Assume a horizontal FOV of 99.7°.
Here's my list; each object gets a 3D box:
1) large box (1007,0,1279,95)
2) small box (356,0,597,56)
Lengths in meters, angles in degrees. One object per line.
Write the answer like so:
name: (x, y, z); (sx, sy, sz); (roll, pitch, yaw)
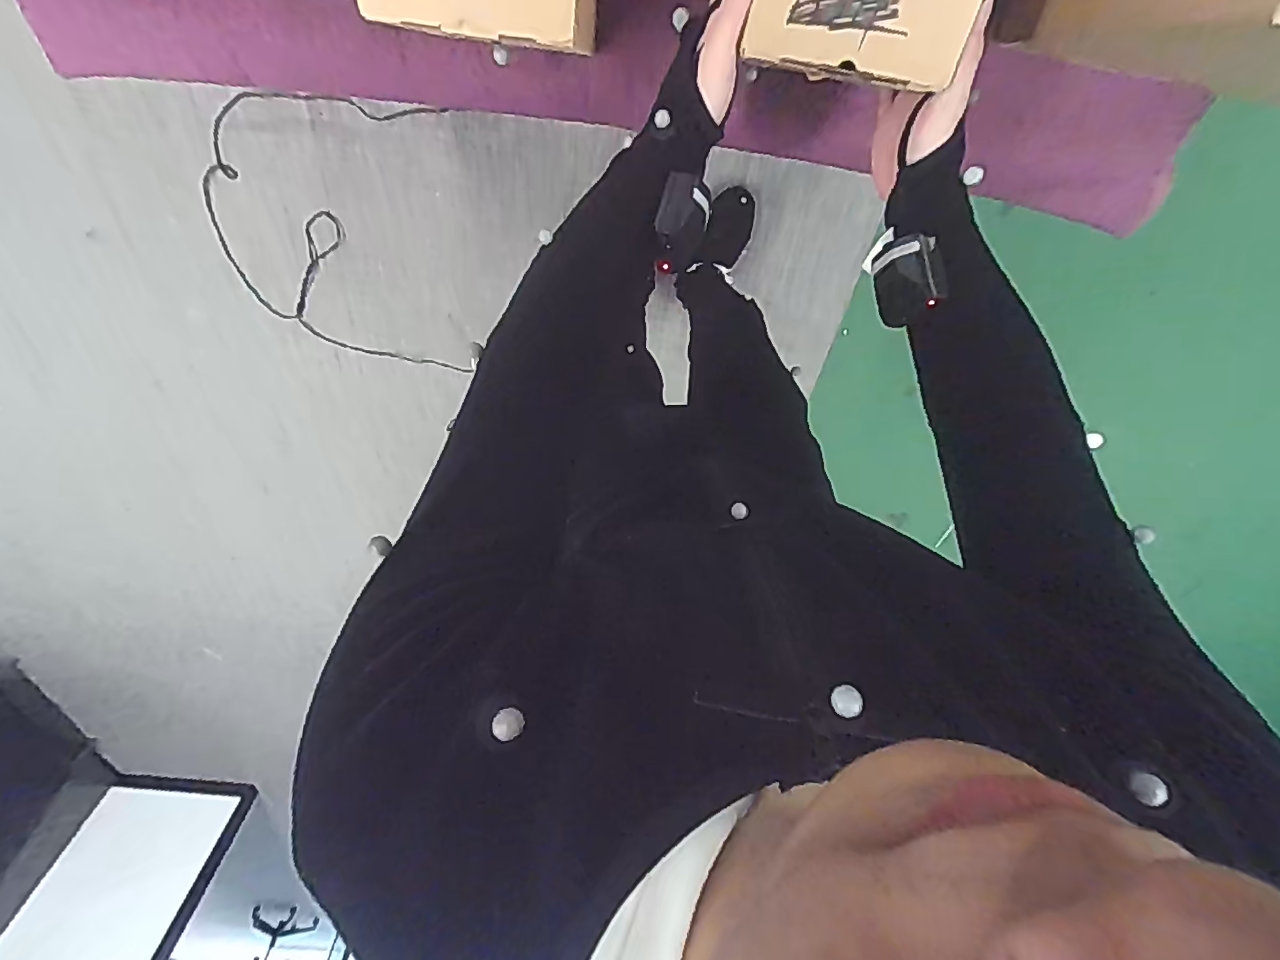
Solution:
large box: (0.527, -0.476, 0.305); (0.320, 0.320, 0.408); (8, 128, -3)
small box: (-0.119, -0.455, 0.422); (0.168, 0.176, 0.179); (6, 127, -2)
